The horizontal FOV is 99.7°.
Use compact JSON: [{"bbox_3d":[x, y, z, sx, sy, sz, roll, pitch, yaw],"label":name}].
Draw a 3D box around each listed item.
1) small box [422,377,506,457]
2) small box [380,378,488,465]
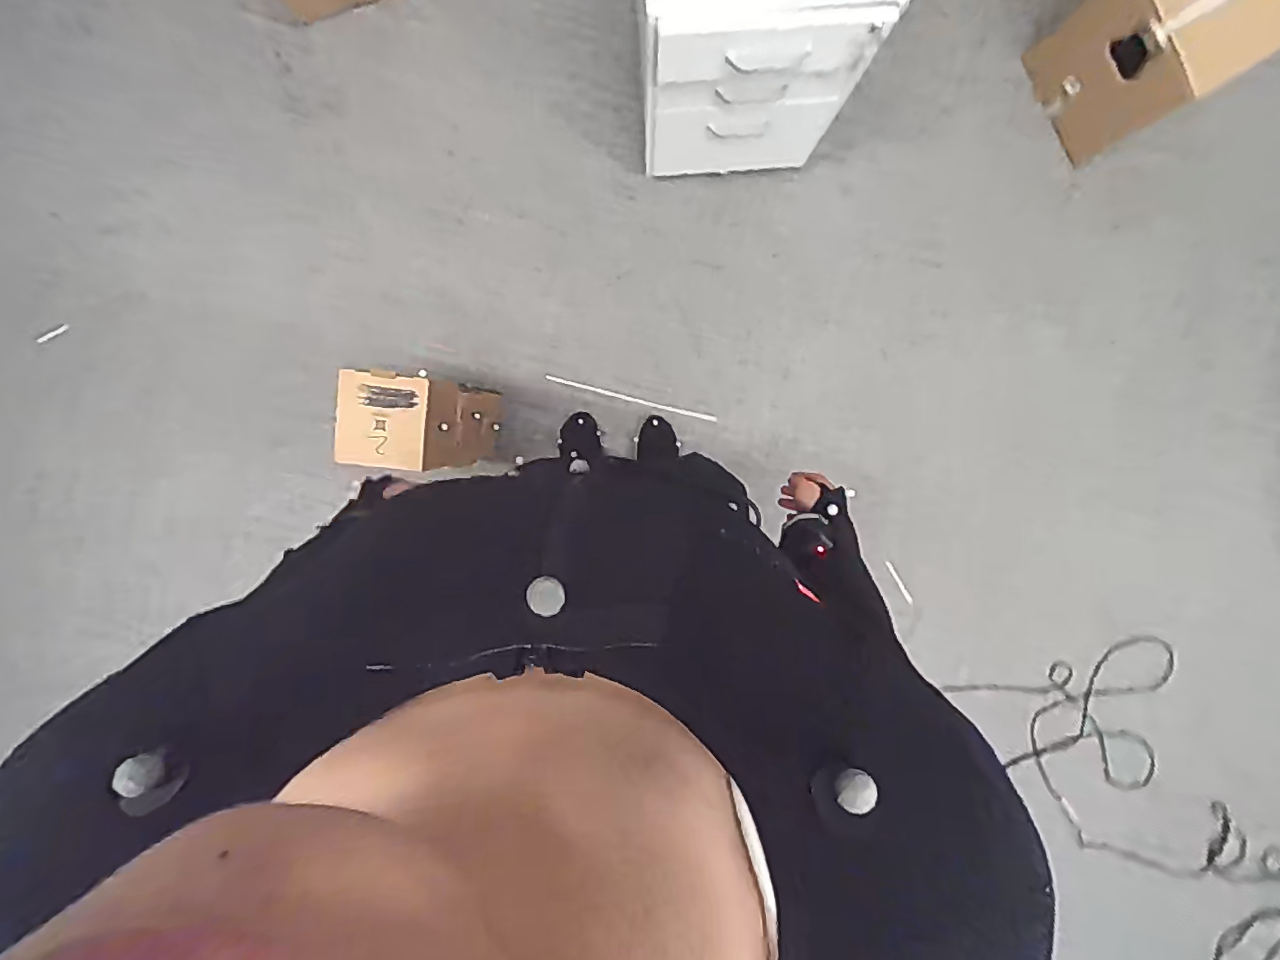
[{"bbox_3d":[-0.463,-0.165,1.408,0.179,0.176,0.168,12,96,-1],"label":"small box"},{"bbox_3d":[-0.466,-0.135,1.248,0.179,0.176,0.168,10,95,1],"label":"small box"}]
